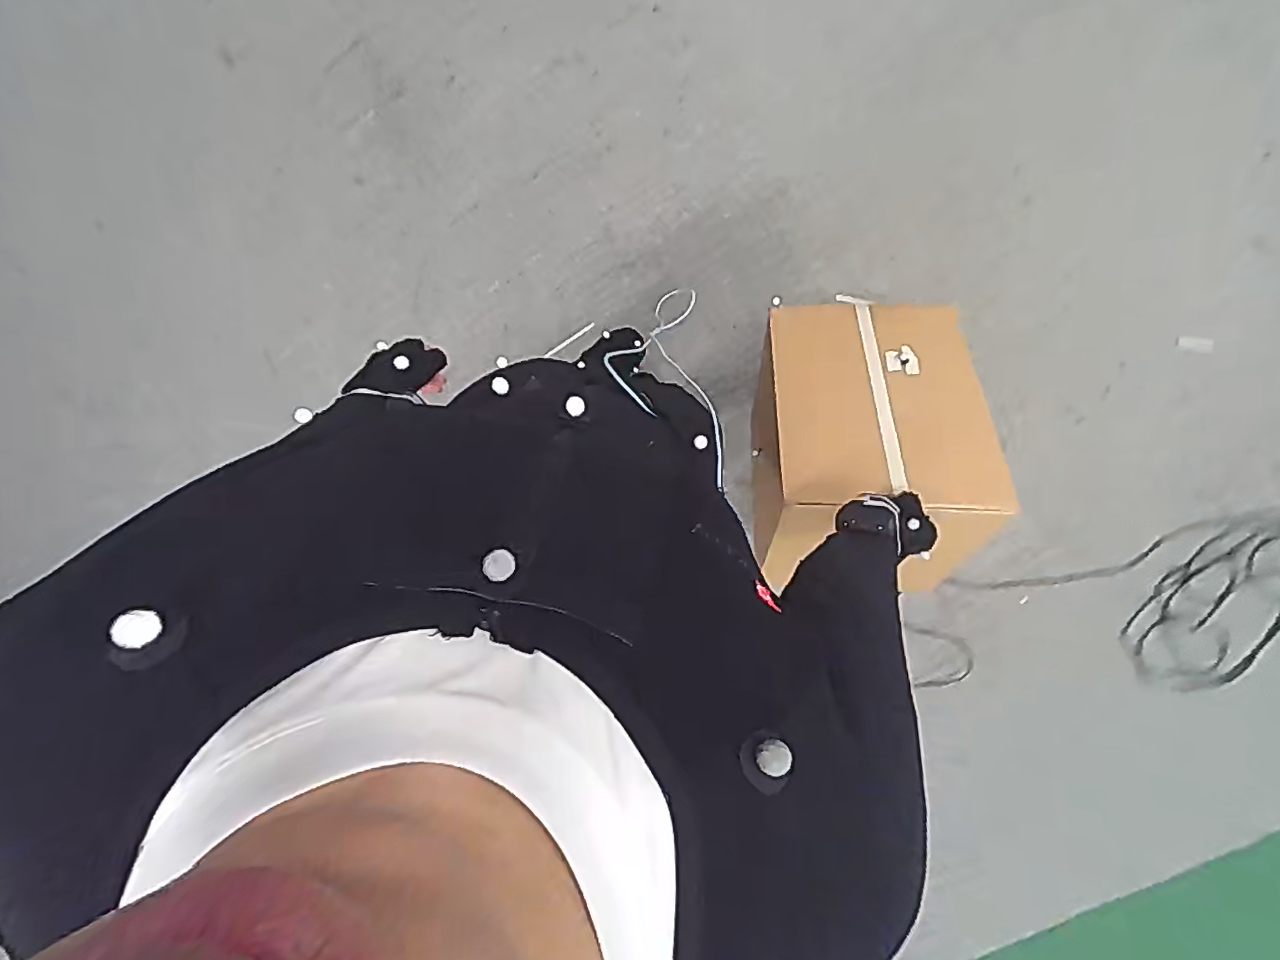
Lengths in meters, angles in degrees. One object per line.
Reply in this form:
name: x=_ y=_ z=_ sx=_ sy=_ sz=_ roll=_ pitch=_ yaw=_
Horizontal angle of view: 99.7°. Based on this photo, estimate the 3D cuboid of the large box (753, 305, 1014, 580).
large box: x=0.384 y=-0.058 z=0.980 sx=0.320 sy=0.408 sz=0.320 roll=1 pitch=148 yaw=5
